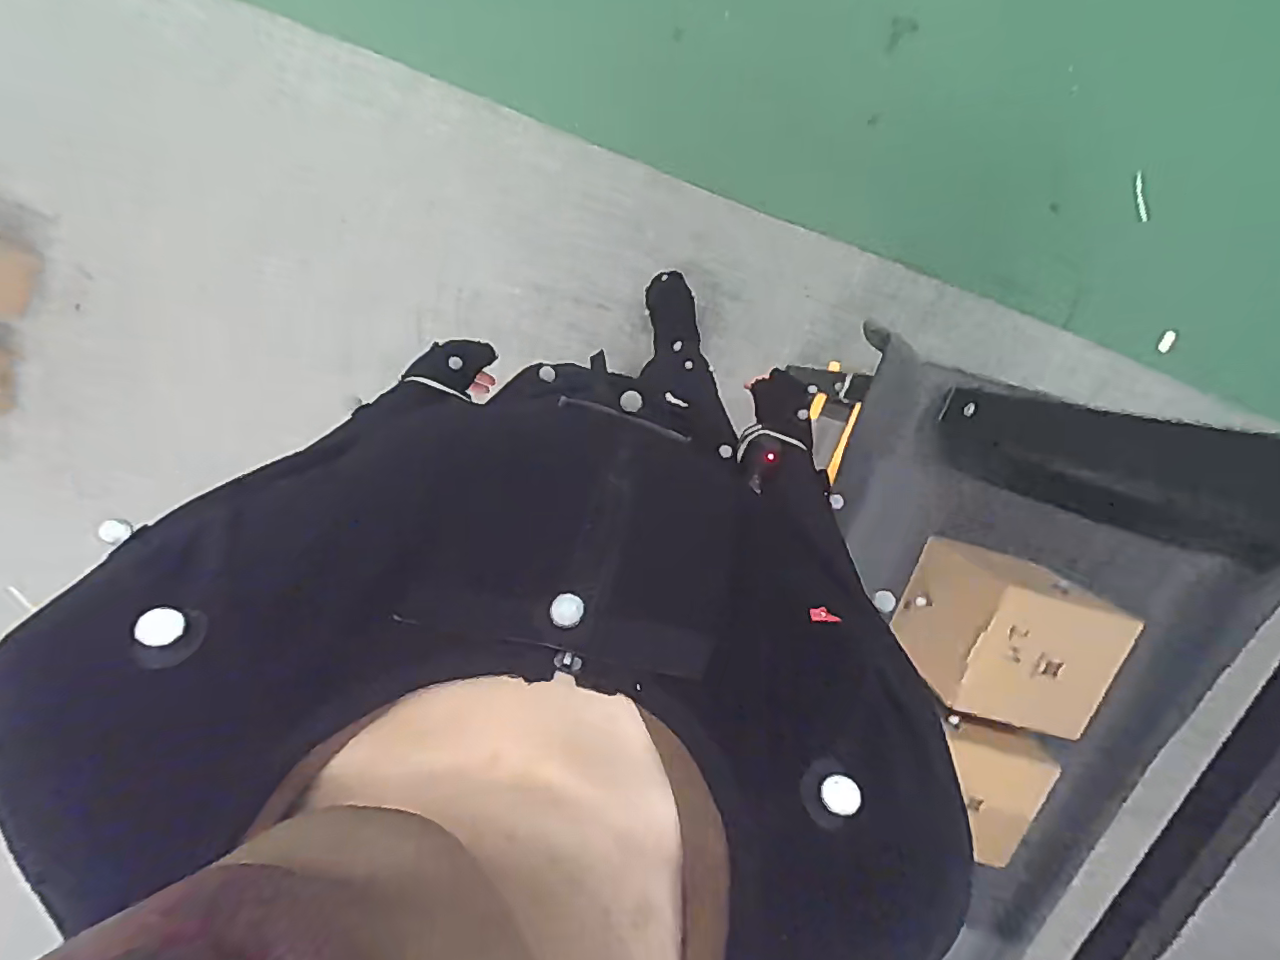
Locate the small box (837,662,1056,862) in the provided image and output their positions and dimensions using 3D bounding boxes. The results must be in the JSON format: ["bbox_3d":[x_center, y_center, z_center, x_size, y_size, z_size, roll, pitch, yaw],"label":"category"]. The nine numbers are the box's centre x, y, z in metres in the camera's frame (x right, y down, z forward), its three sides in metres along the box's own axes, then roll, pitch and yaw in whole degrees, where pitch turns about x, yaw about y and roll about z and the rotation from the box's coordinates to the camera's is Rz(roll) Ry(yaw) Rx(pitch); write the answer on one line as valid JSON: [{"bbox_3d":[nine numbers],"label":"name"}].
[{"bbox_3d":[0.411,0.383,0.759,0.179,0.176,0.168,16,102,-5],"label":"small box"}]

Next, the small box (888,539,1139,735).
[{"bbox_3d":[0.468,0.193,0.709,0.179,0.176,0.168,16,103,-5],"label":"small box"}]
